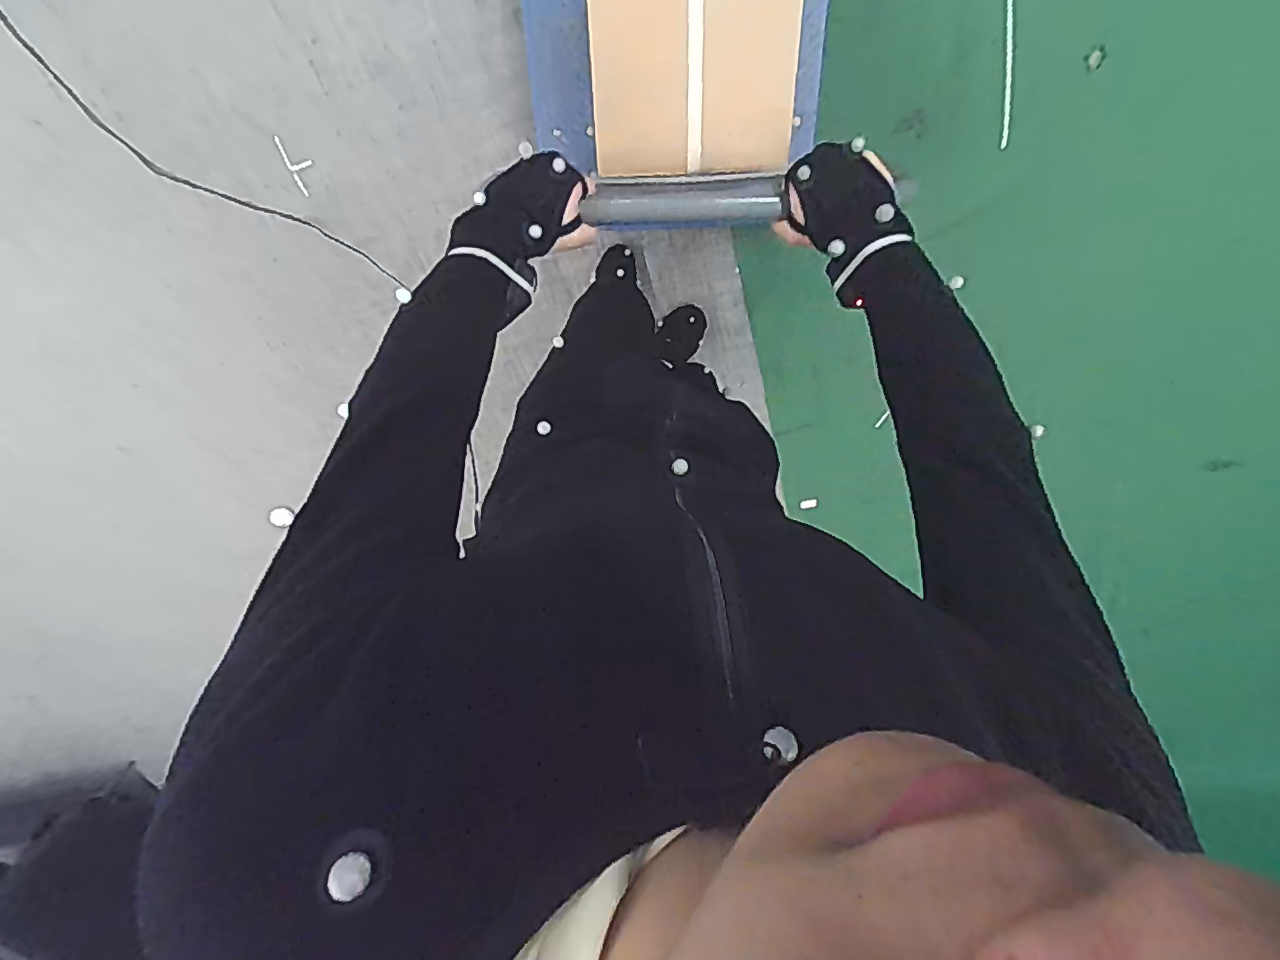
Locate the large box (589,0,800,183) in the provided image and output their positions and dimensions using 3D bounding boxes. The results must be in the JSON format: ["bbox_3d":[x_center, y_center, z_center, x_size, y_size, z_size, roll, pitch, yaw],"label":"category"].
[{"bbox_3d":[0.087,-0.749,0.926,0.320,0.320,0.408,-2,118,2],"label":"large box"}]
